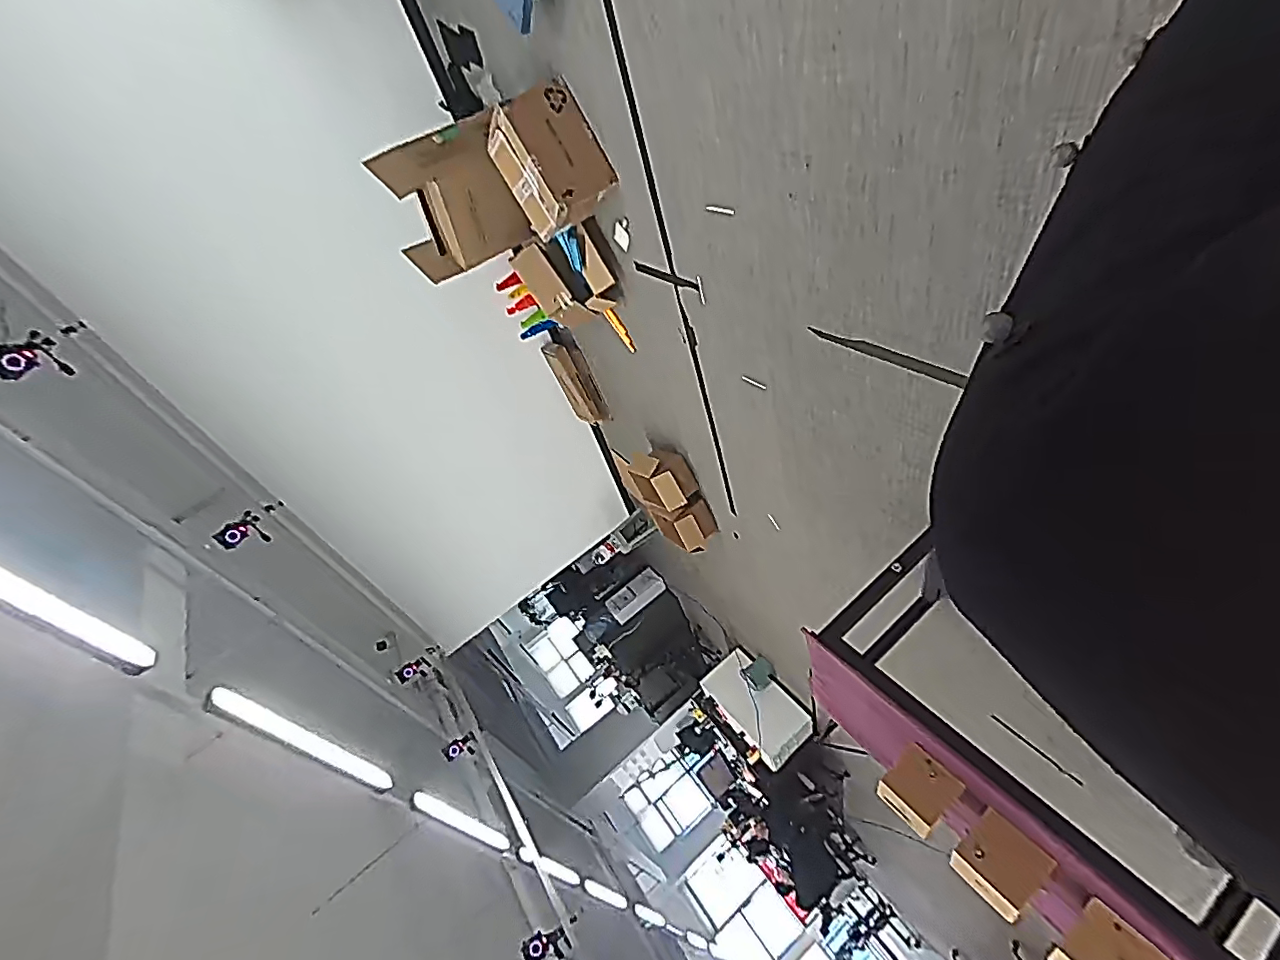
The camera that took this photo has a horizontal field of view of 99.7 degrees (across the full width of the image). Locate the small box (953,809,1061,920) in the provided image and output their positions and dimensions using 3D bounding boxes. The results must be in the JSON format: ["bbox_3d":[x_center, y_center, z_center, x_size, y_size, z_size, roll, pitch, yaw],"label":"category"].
[{"bbox_3d":[0.996,1.041,1.479,0.179,0.176,0.168,38,159,46],"label":"small box"}]

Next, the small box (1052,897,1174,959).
[{"bbox_3d":[1.141,1.156,1.302,0.168,0.176,0.179,36,158,49],"label":"small box"}]
